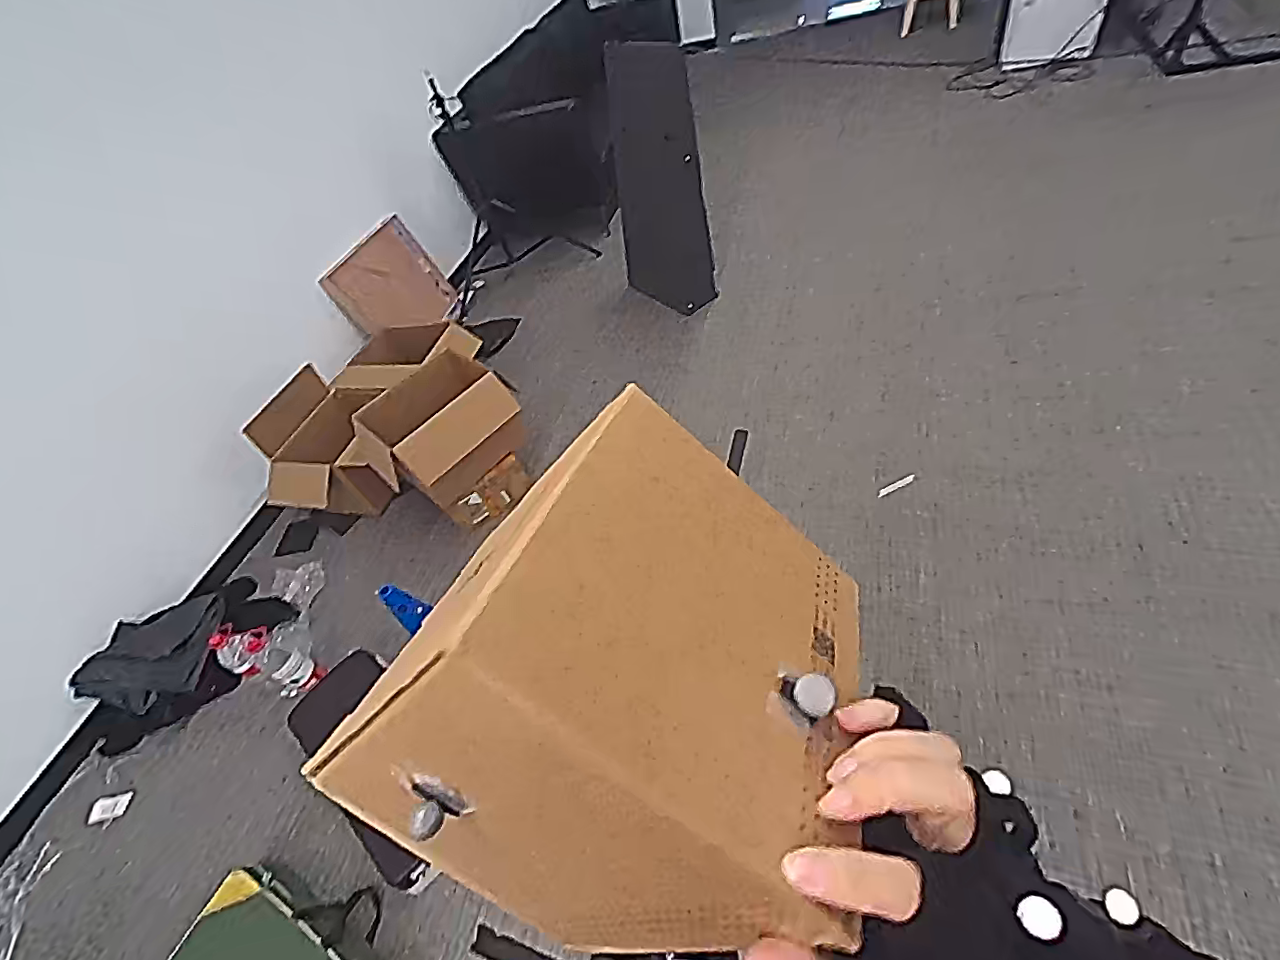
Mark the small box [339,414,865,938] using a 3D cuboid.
[{"bbox_3d":[-0.010,0.106,0.286,0.179,0.176,0.168,-41,14,36],"label":"small box"}]
